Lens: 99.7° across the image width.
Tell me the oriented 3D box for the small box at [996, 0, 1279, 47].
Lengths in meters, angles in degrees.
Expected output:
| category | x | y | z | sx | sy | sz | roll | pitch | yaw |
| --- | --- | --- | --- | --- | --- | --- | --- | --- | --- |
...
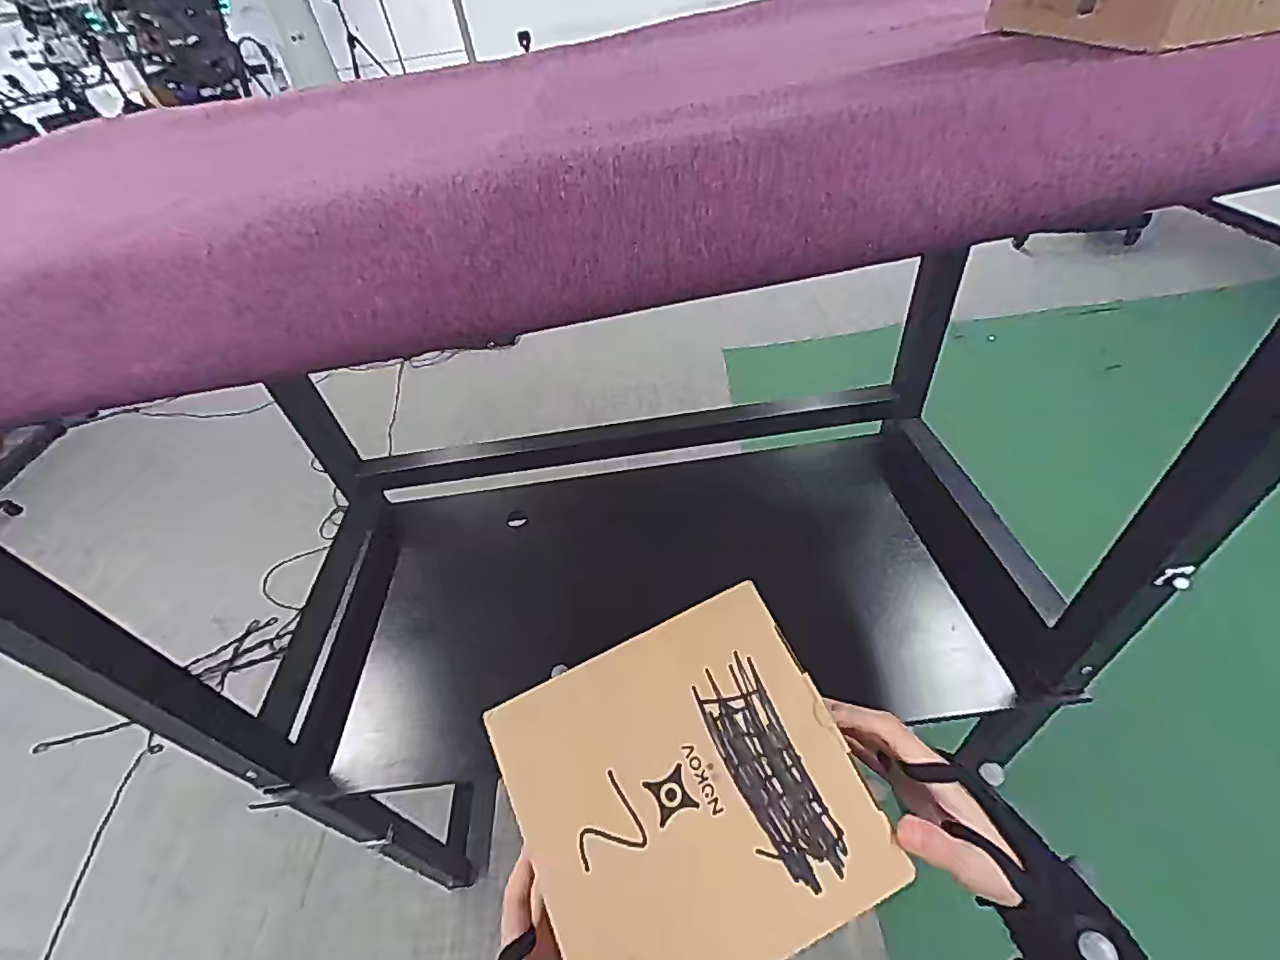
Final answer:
| category | x | y | z | sx | sy | sz | roll | pitch | yaw |
| --- | --- | --- | --- | --- | --- | --- | --- | --- | --- |
| small box | 0.325 | -0.344 | 0.268 | 0.179 | 0.176 | 0.168 | -8 | 43 | 4 |
